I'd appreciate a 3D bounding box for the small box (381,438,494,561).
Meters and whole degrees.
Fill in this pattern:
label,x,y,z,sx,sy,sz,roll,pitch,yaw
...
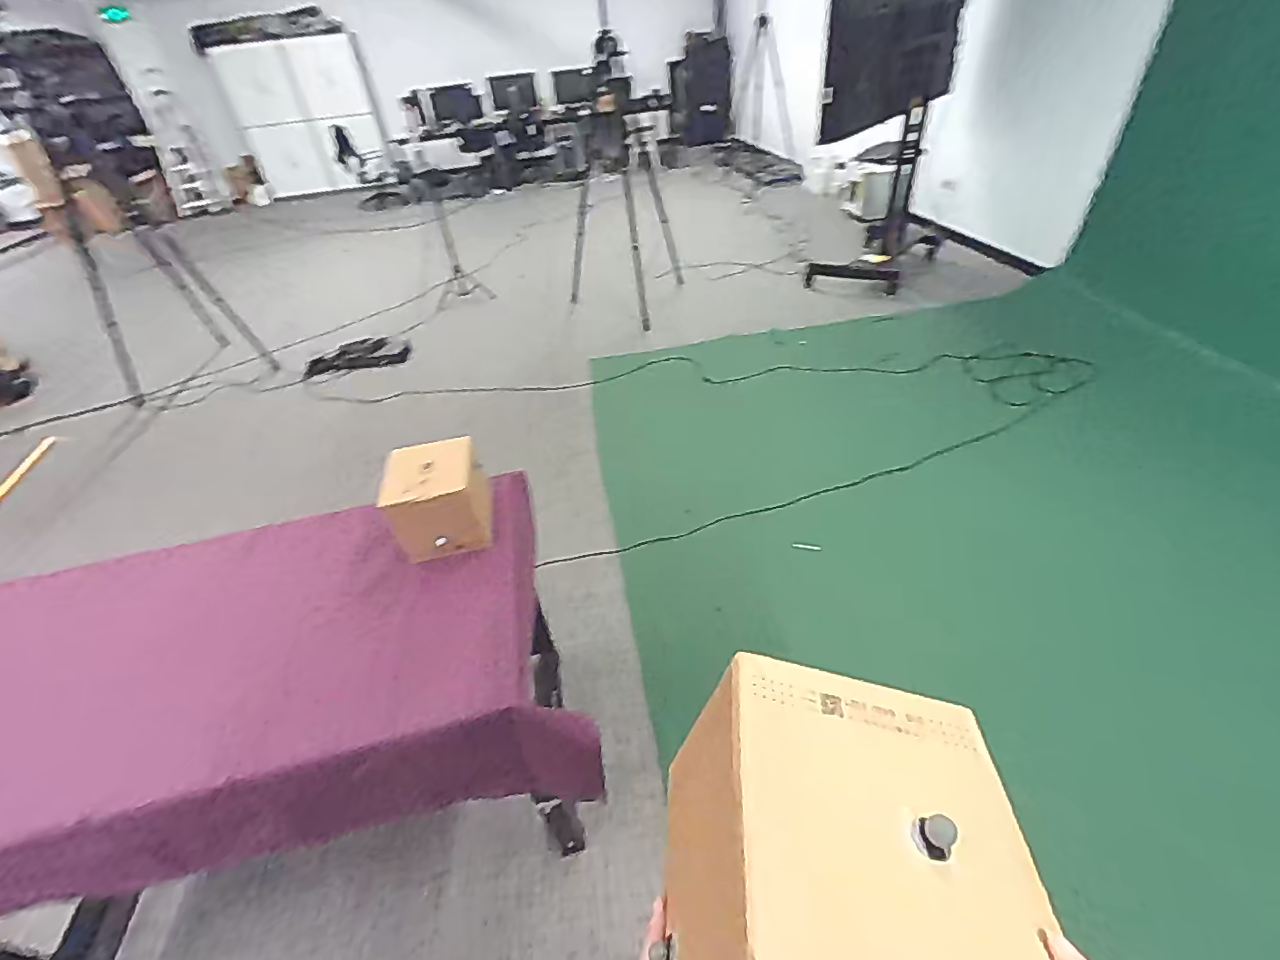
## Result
label,x,y,z,sx,sy,sz,roll,pitch,yaw
small box,-0.408,0.041,1.124,0.168,0.176,0.179,-11,43,-3
